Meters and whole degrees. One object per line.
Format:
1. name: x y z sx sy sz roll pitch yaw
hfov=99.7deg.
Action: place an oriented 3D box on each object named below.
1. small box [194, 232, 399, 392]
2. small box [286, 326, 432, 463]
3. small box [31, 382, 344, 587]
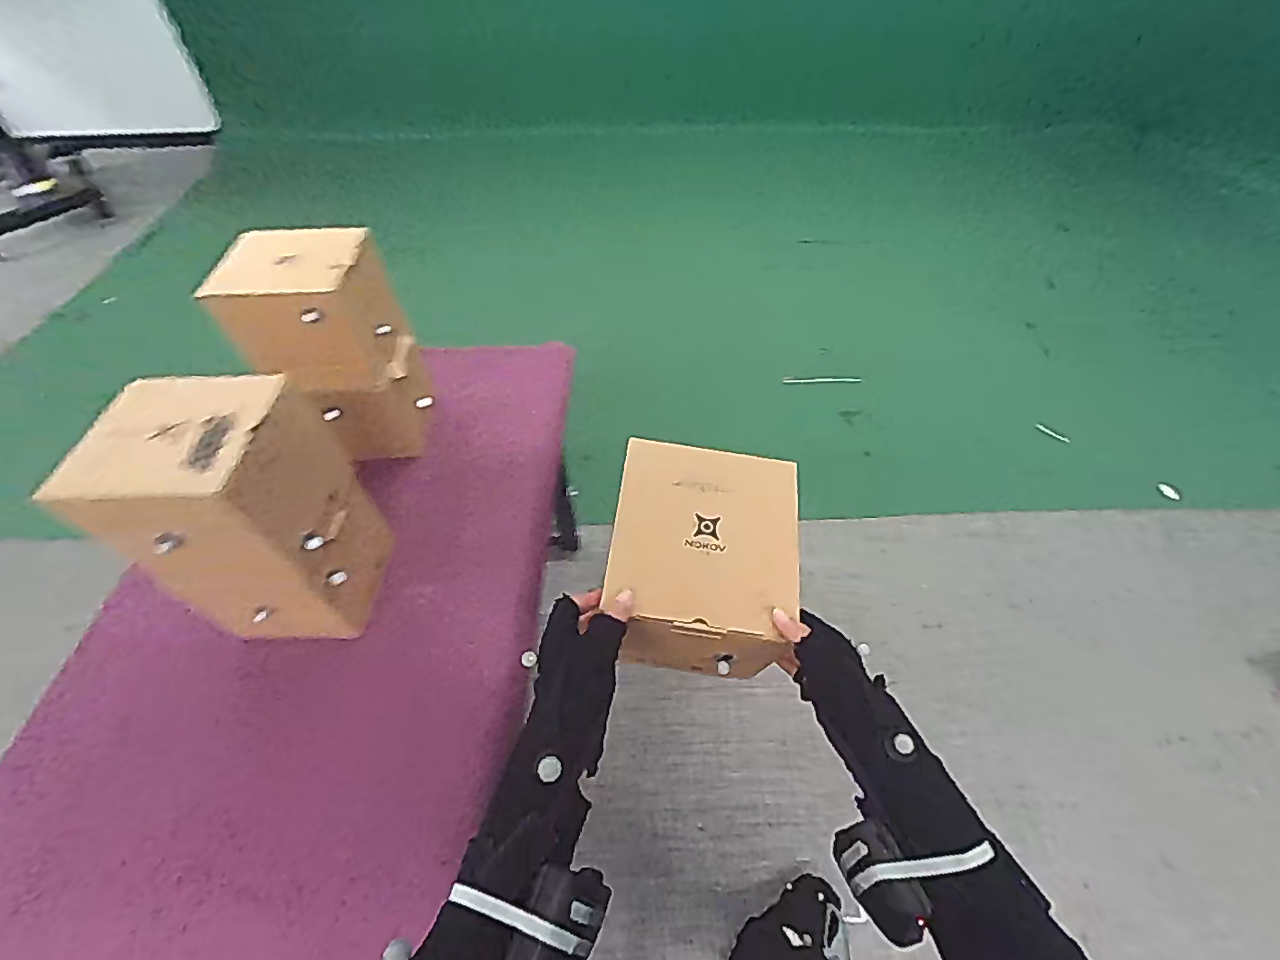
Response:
1. small box: -0.489 -0.245 0.804 0.179 0.176 0.168 -2 52 -2
2. small box: -0.483 -0.142 0.930 0.179 0.176 0.168 -3 53 -2
3. small box: -0.469 0.009 0.603 0.179 0.176 0.168 -2 52 1
